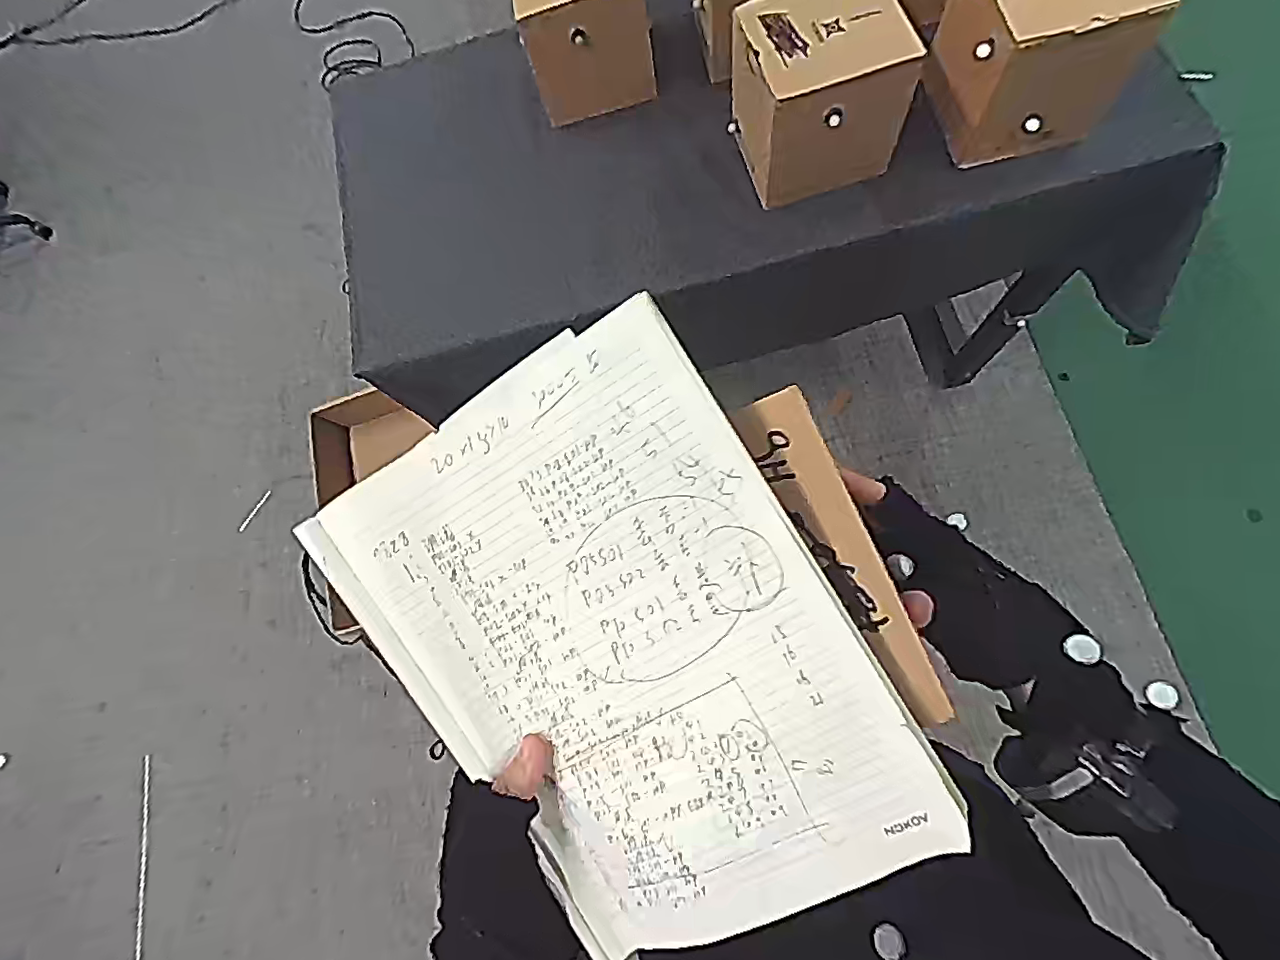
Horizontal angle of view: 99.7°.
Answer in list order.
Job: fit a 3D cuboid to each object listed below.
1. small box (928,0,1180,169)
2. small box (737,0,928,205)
[{"bbox_3d":[0.491,-0.537,0.679,0.168,0.176,0.179,-10,73,6],"label":"small box"},{"bbox_3d":[0.233,-0.498,0.707,0.179,0.176,0.168,-16,72,4],"label":"small box"}]
